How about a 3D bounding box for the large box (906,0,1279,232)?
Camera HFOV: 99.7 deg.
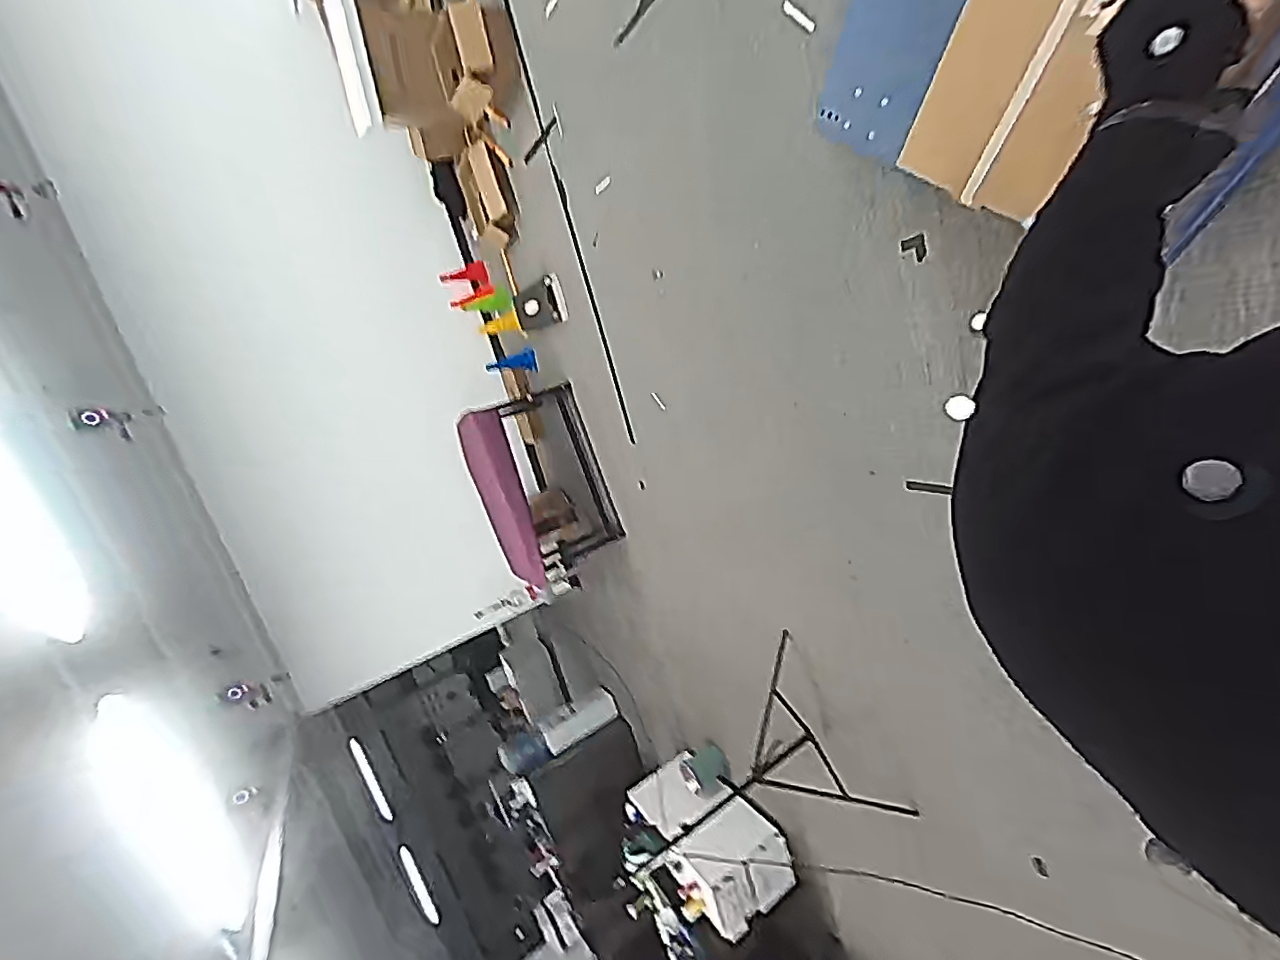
[{"bbox_3d":[0.716,-0.661,0.841,0.320,0.320,0.408,50,148,30],"label":"large box"}]
